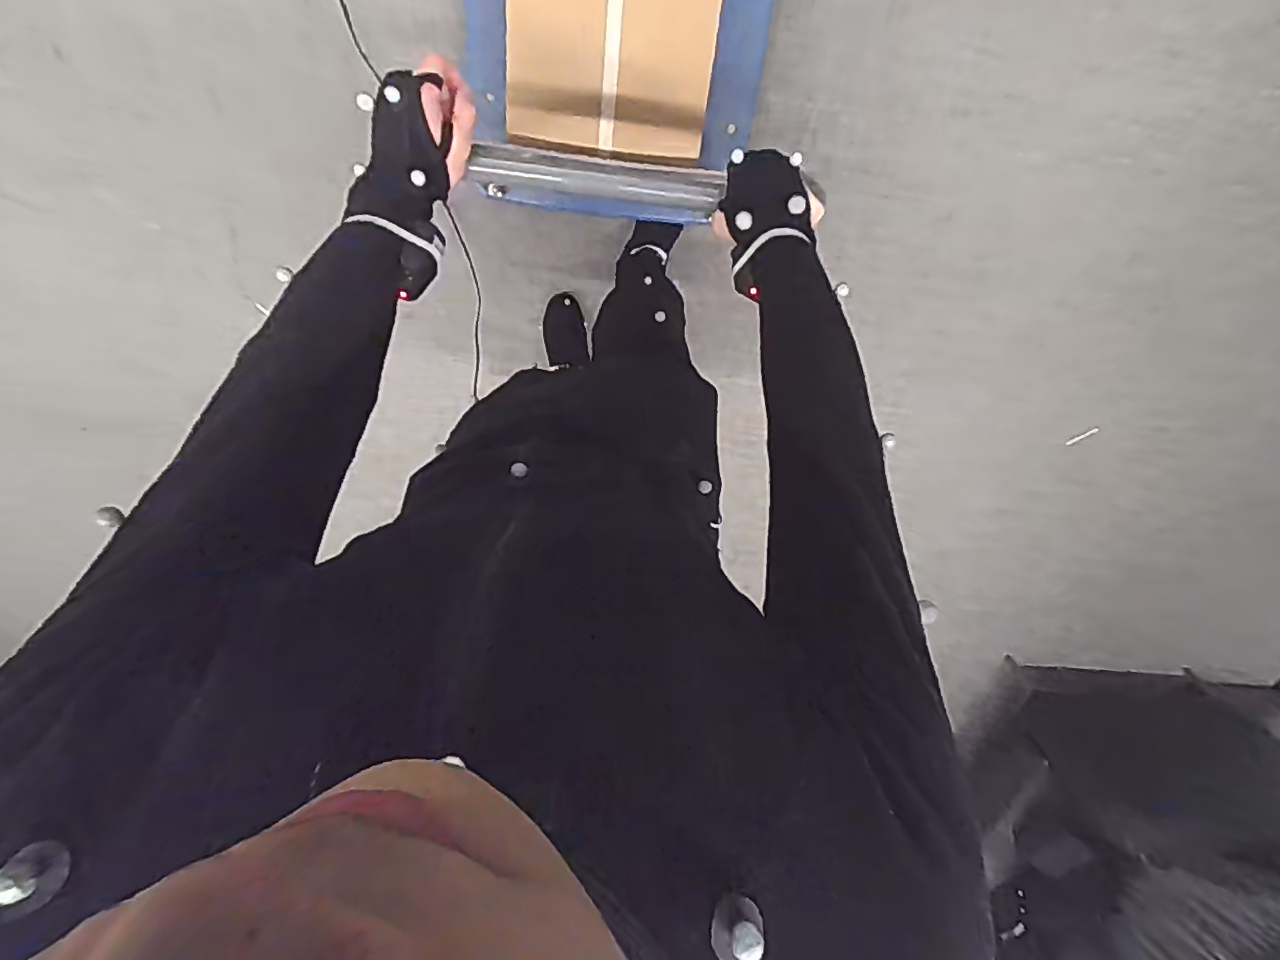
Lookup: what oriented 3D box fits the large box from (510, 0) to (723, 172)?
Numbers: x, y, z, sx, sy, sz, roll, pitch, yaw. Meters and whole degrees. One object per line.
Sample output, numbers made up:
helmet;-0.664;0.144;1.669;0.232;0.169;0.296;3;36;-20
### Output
large box;-0.036;-0.768;0.915;0.320;0.320;0.408;5;118;-5
